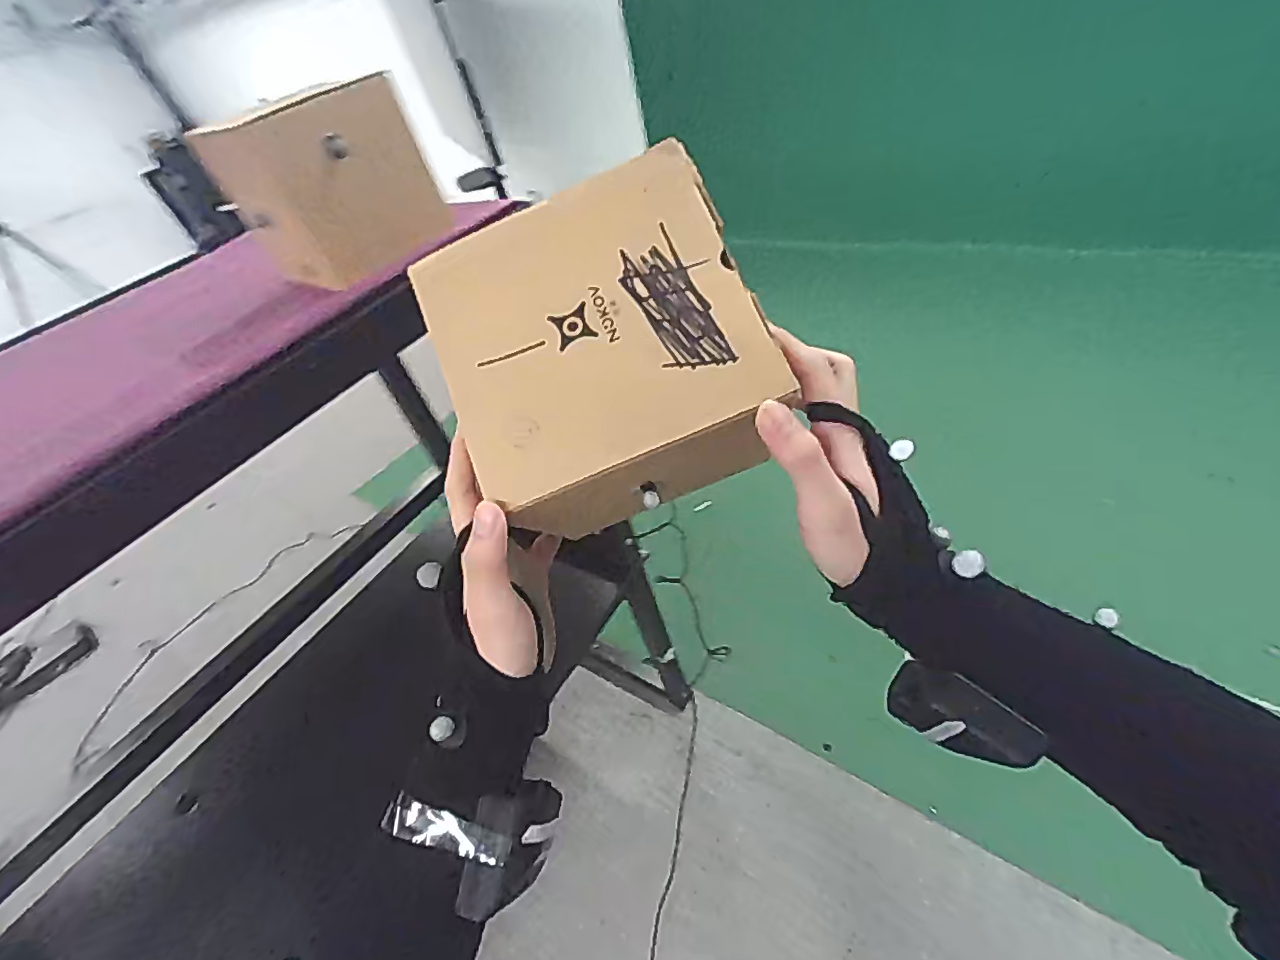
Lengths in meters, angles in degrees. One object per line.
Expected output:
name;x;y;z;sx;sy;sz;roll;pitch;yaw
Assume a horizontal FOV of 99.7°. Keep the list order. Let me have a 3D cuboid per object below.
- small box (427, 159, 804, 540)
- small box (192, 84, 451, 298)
small box;-0.010;-0.067;0.378;0.179;0.176;0.168;-22;76;5
small box;-0.365;-0.338;0.645;0.168;0.176;0.179;22;56;34
